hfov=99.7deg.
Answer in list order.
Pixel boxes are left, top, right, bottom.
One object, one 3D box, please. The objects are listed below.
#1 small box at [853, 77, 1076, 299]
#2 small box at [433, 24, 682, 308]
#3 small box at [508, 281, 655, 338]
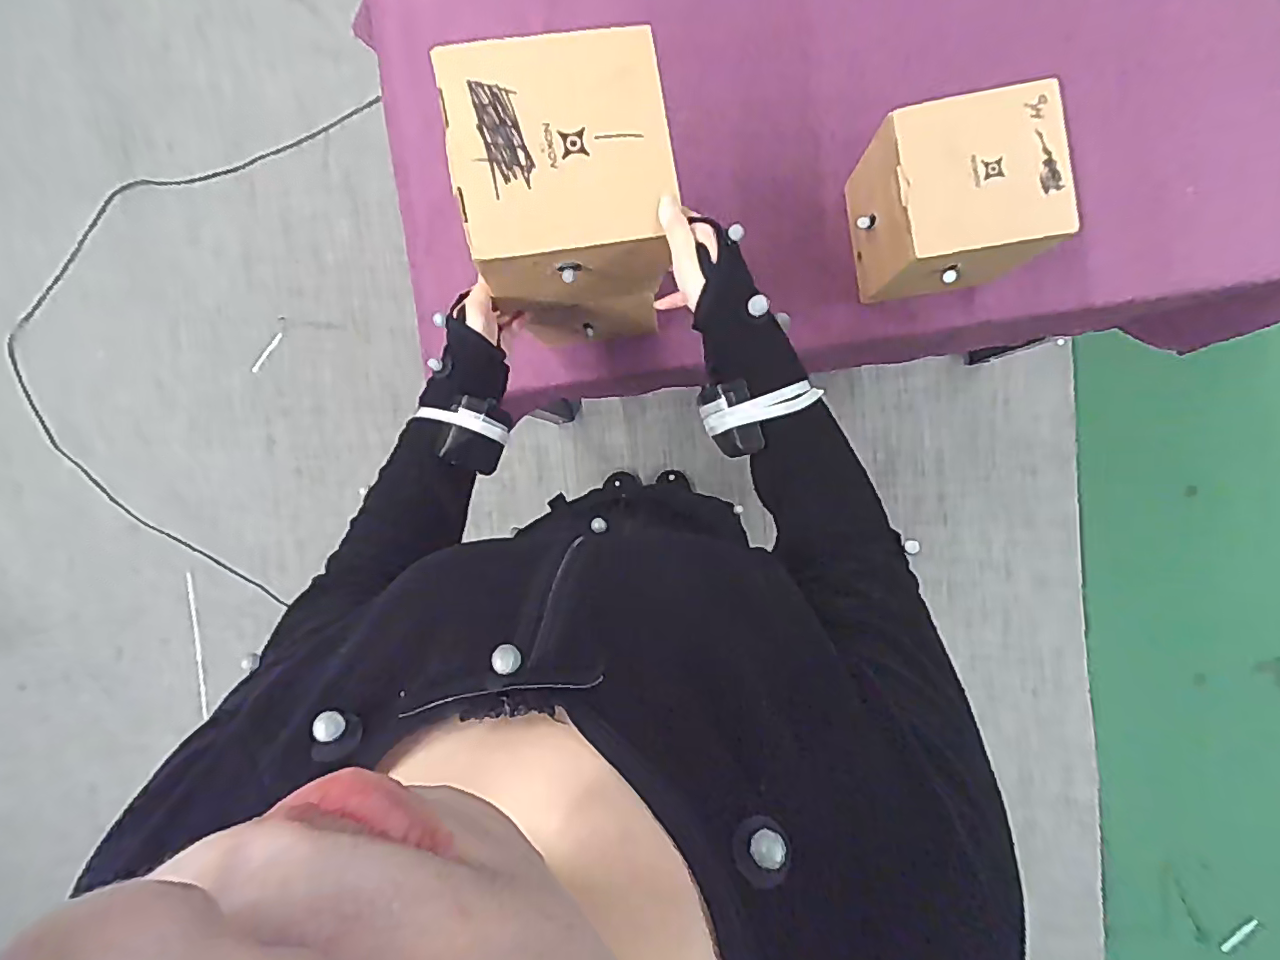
[{"bbox_3d":[0.371,-0.333,0.655,0.179,0.176,0.168,-8,91,5],"label":"small box"},{"bbox_3d":[-0.071,-0.272,0.507,0.179,0.176,0.168,-10,94,-6],"label":"small box"},{"bbox_3d":[-0.073,-0.287,0.687,0.168,0.176,0.179,-7,91,3],"label":"small box"}]
